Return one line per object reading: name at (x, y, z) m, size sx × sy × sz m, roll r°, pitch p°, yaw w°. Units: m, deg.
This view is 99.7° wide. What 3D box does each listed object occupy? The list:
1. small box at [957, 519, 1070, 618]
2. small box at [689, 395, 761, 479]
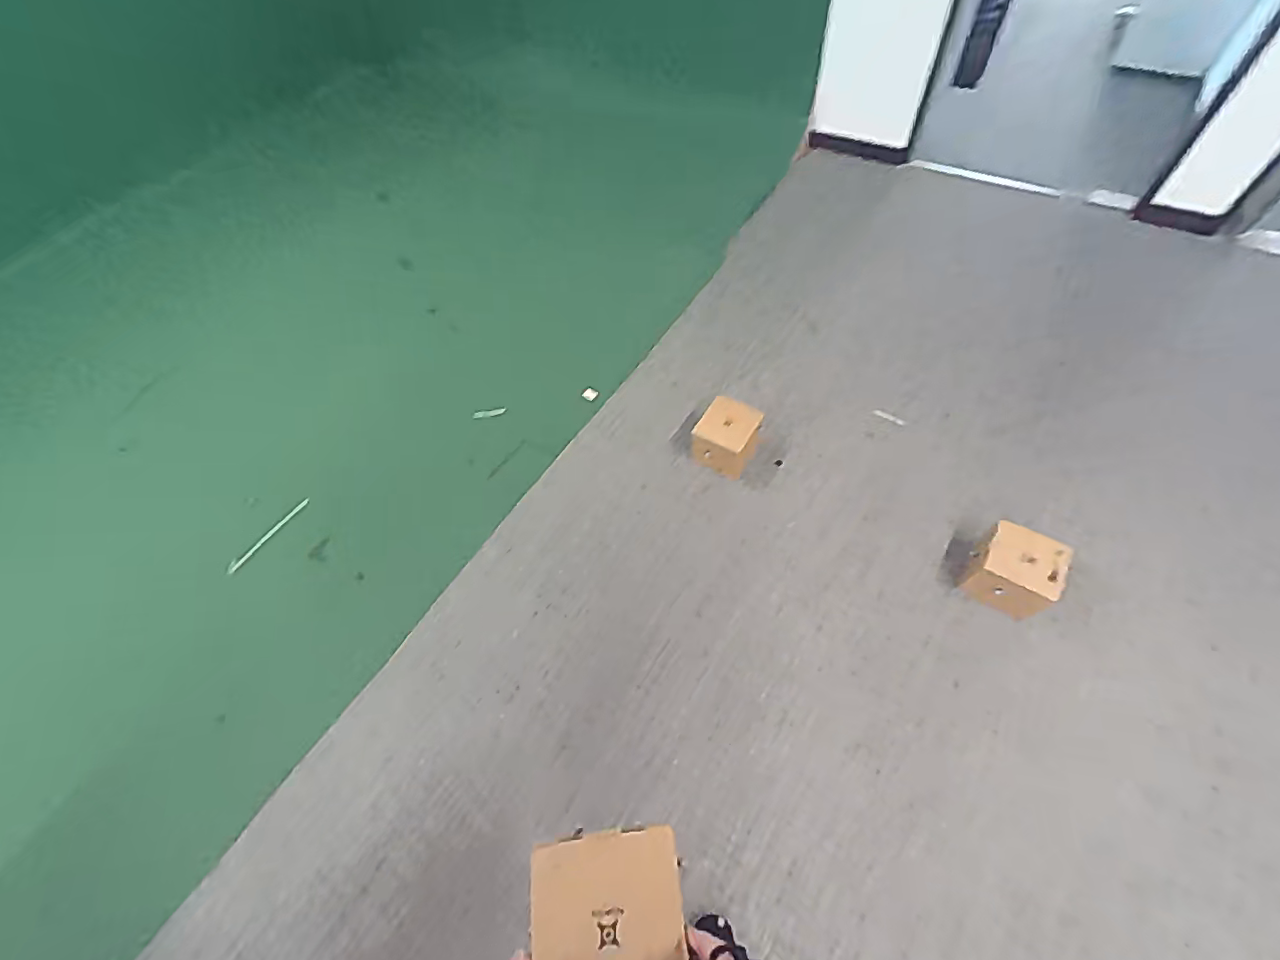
small box at (0.978, 0.239, 1.431) m, size 0.179 × 0.176 × 0.168 m, roll 27°, pitch 65°, yaw 21°
small box at (0.272, -0.132, 1.727) m, size 0.168 × 0.176 × 0.179 m, roll 26°, pitch 63°, yaw 20°
